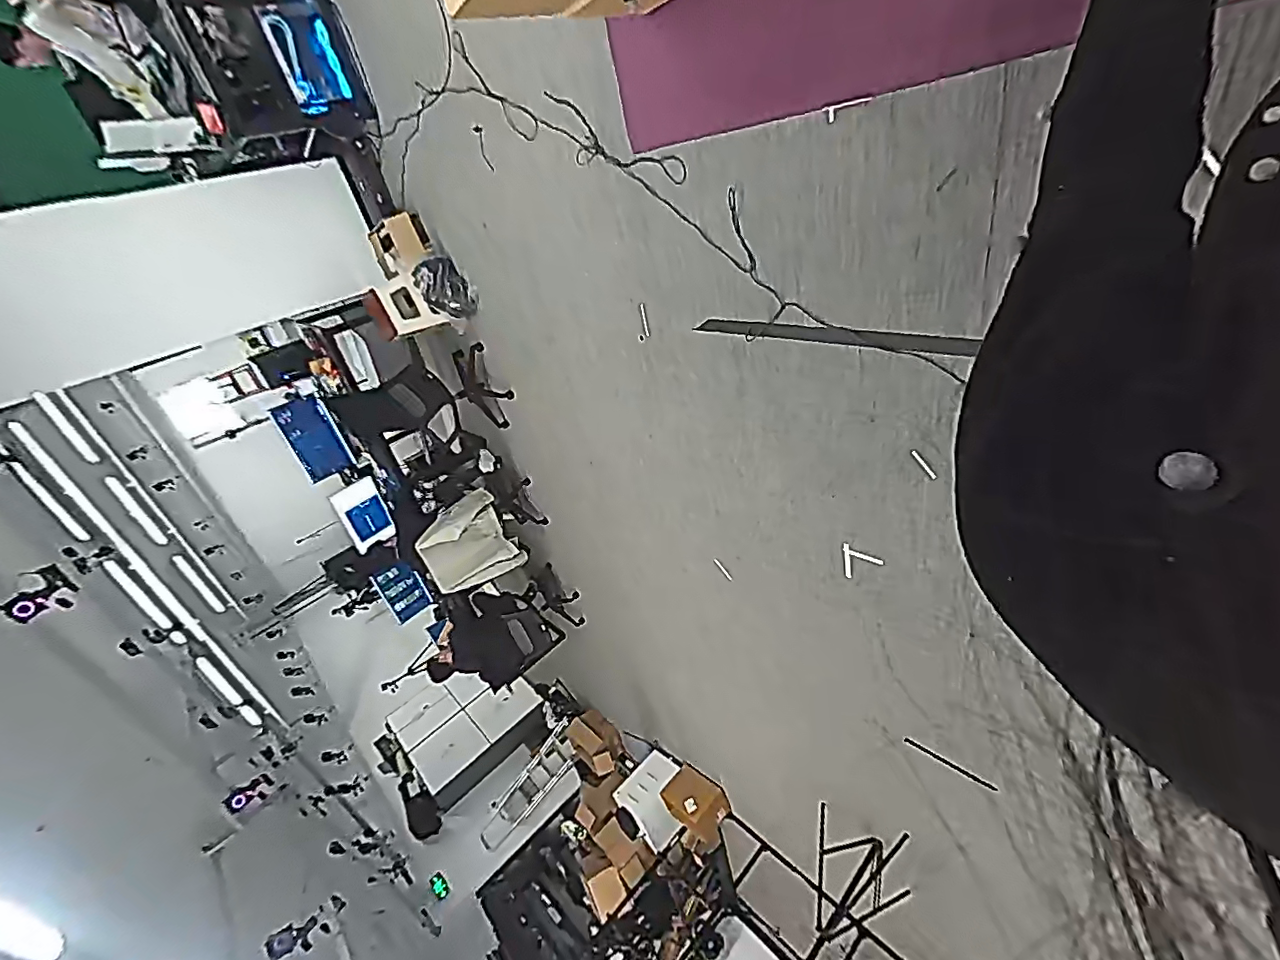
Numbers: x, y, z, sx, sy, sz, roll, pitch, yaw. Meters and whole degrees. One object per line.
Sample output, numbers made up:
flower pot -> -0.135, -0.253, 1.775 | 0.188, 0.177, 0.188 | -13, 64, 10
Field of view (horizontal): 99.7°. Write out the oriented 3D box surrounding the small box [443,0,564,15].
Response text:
small box -> -0.136, -0.648, 0.588 | 0.179, 0.176, 0.168 | 14, 130, 47

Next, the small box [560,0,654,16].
small box -> -0.015, -0.721, 0.670 | 0.168, 0.176, 0.179 | 17, 132, 47
